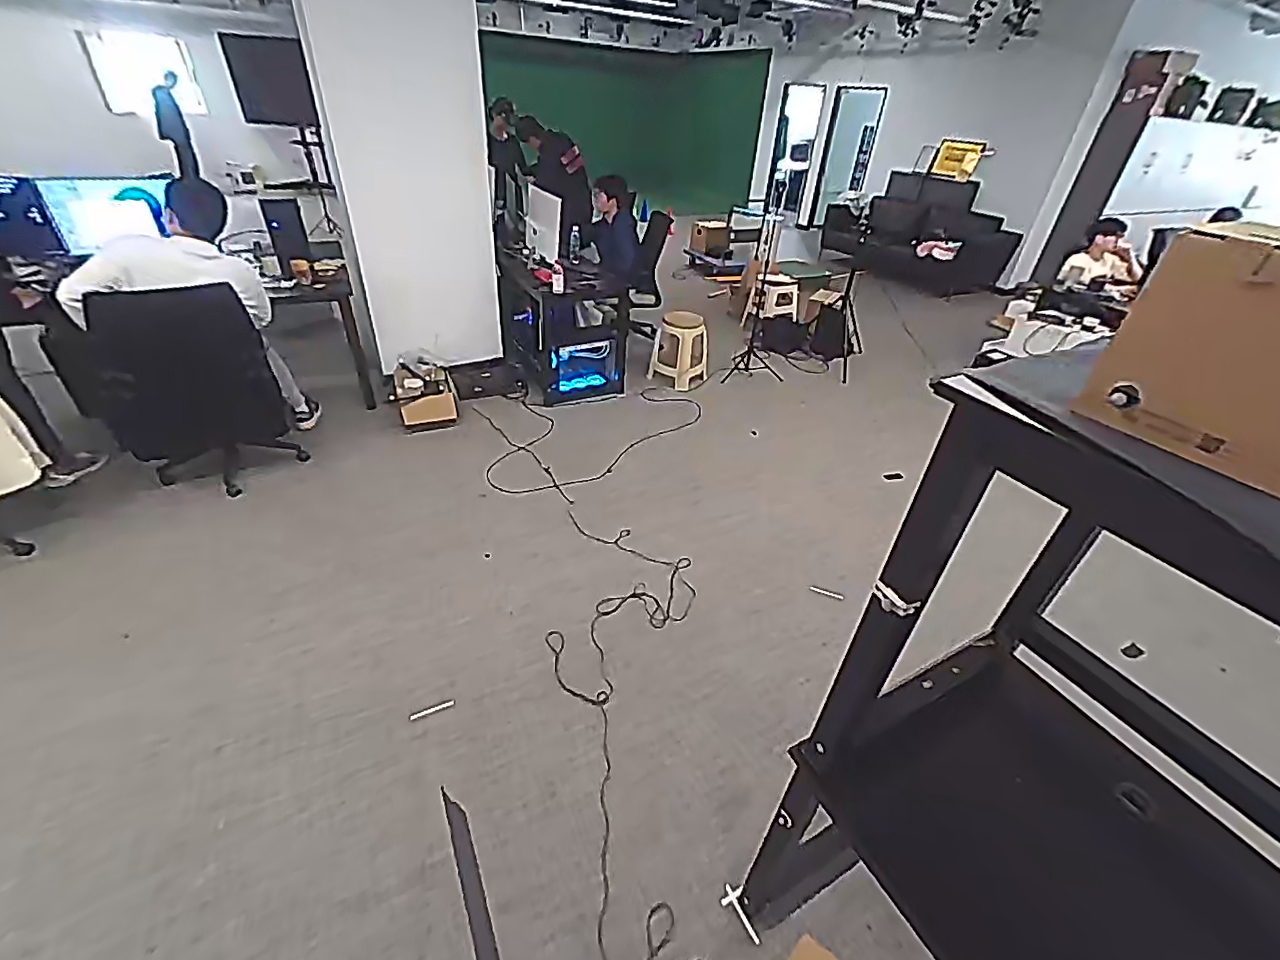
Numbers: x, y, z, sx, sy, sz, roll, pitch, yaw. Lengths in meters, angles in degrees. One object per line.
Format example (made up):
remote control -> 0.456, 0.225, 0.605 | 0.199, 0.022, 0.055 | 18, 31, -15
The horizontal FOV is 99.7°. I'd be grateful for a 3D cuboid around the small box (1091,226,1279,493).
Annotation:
small box -> 0.542, -0.108, 0.461 | 0.179, 0.176, 0.168 | -15, 40, -26
